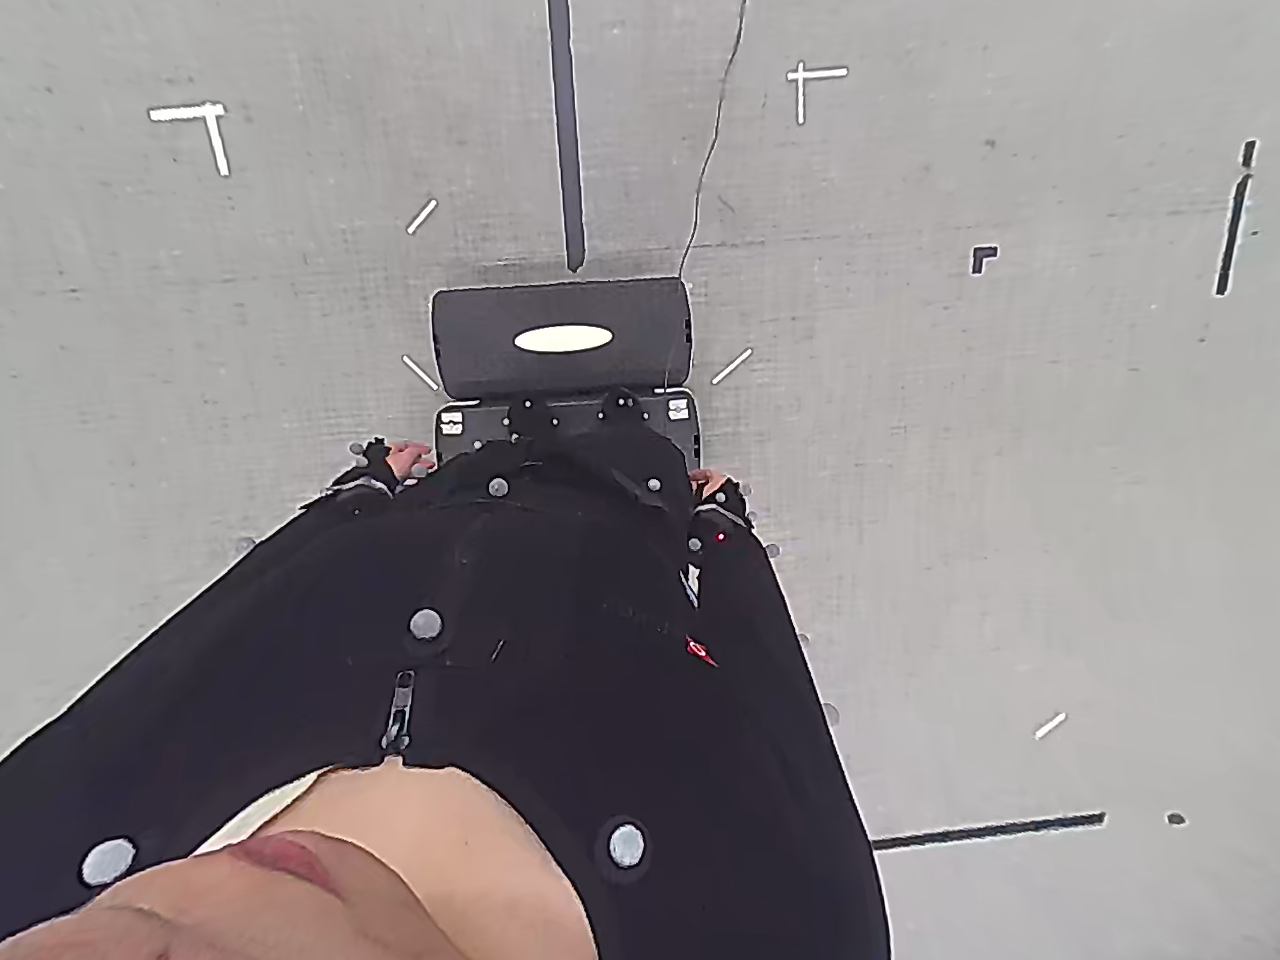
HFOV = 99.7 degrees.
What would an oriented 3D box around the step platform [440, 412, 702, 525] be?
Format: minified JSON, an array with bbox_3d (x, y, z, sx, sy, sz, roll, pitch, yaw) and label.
[{"bbox_3d":[-0.176,-0.033,1.456,0.684,0.204,0.286,0,101,-2],"label":"step platform"}]
